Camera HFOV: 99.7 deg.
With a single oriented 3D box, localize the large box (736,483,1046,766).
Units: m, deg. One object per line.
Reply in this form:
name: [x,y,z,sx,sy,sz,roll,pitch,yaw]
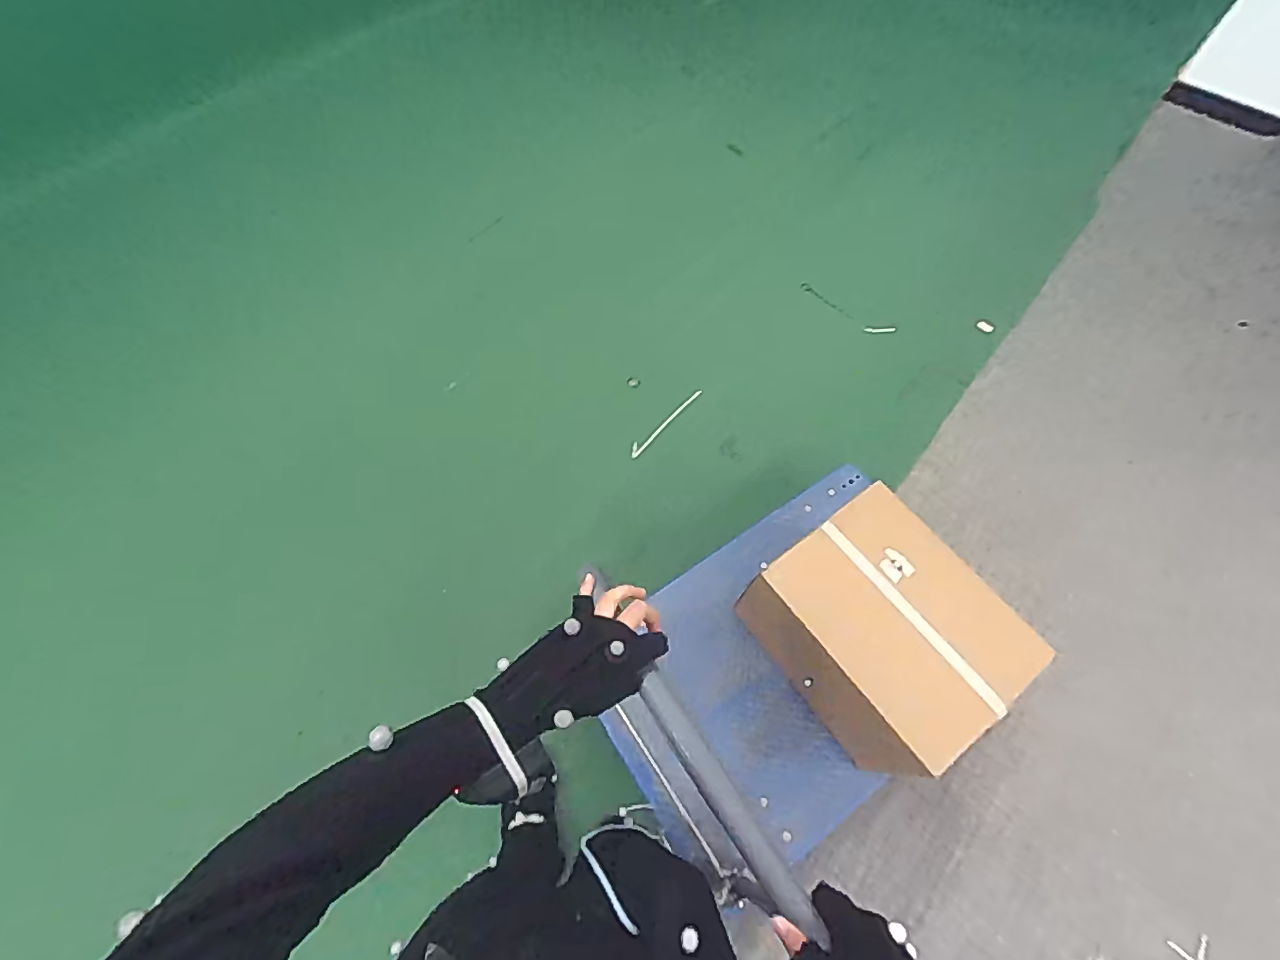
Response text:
large box: [0.453,0.290,1.079,0.320,0.320,0.408,-33,68,-16]
